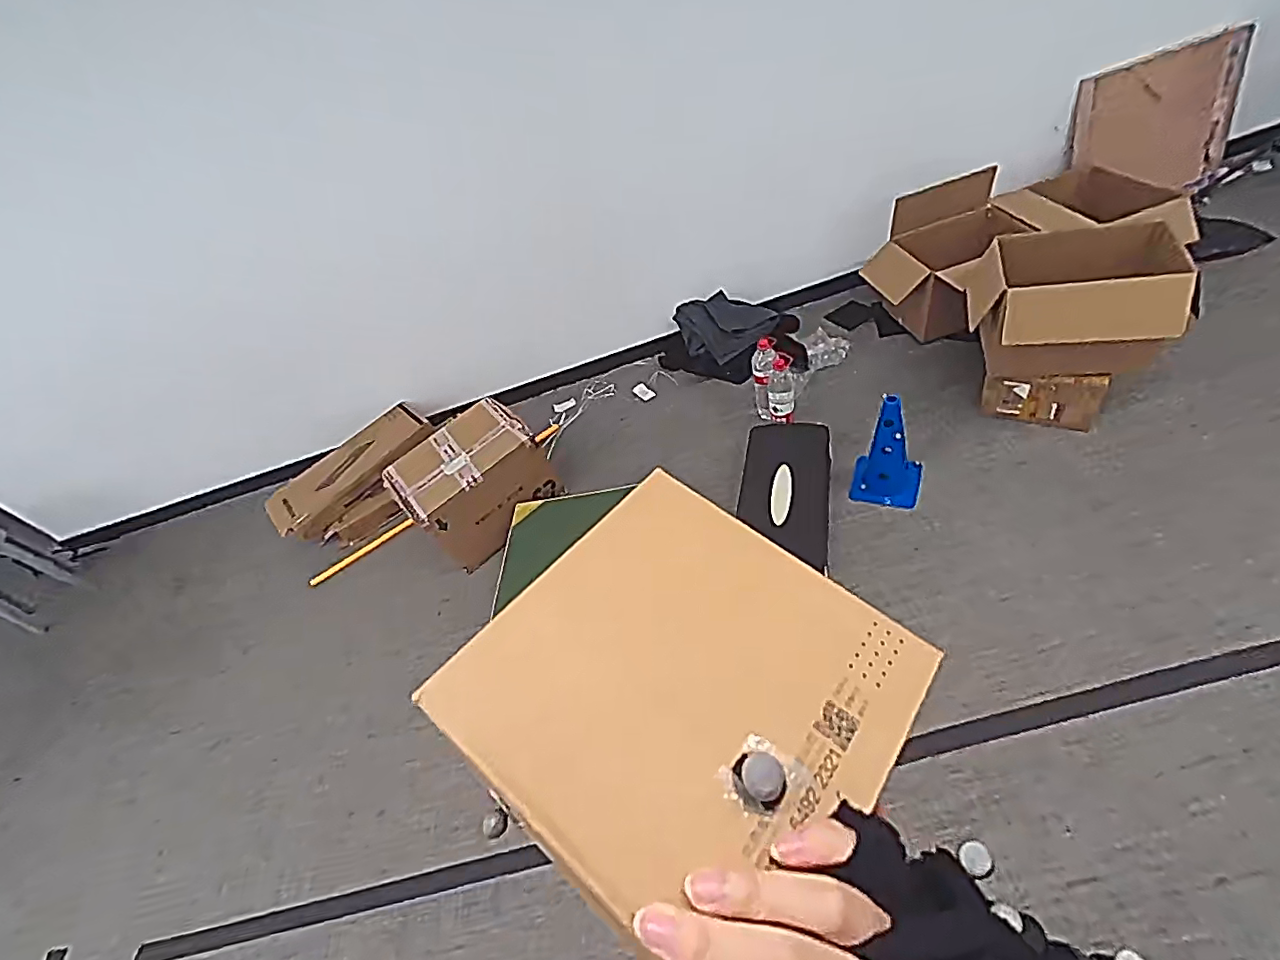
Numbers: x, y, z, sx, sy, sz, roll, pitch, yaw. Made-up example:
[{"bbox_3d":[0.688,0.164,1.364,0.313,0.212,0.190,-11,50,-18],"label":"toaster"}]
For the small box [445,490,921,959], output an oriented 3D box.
[{"bbox_3d":[0.023,0.147,0.314,0.176,0.179,0.168,33,56,21],"label":"small box"}]
